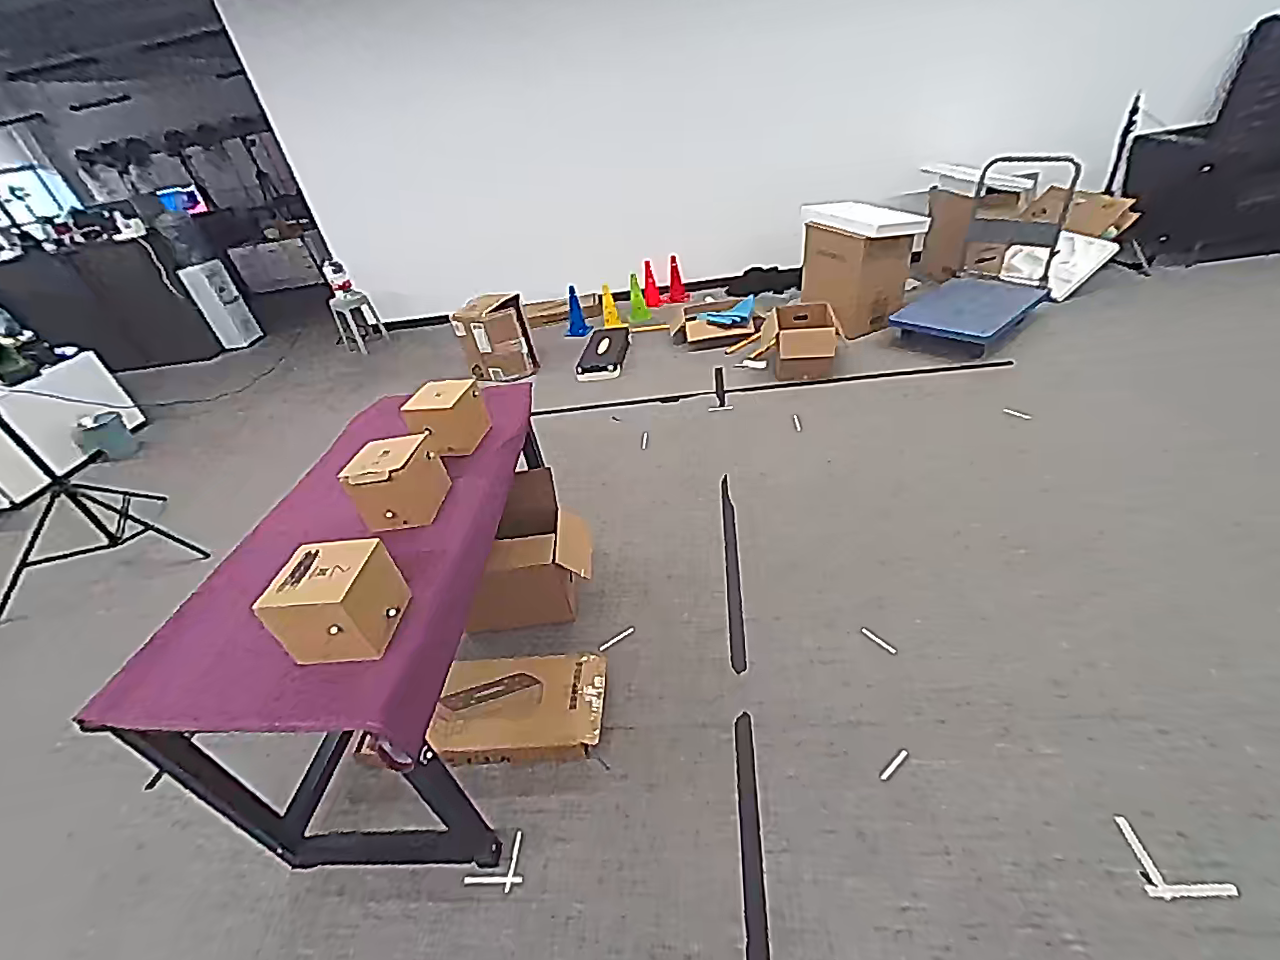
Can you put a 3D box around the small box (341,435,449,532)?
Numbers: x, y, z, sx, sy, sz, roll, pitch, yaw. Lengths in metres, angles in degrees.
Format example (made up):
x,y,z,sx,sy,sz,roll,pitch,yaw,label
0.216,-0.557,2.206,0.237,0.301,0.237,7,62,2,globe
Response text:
x,y,z,sx,sy,sz,roll,pitch,yaw,label
-0.611,0.009,1.379,0.168,0.176,0.179,-8,36,8,small box

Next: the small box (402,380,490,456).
x,y,z,sx,sy,sz,roll,pitch,yaw,label
-0.576,-0.181,1.632,0.168,0.176,0.179,-2,36,12,small box
